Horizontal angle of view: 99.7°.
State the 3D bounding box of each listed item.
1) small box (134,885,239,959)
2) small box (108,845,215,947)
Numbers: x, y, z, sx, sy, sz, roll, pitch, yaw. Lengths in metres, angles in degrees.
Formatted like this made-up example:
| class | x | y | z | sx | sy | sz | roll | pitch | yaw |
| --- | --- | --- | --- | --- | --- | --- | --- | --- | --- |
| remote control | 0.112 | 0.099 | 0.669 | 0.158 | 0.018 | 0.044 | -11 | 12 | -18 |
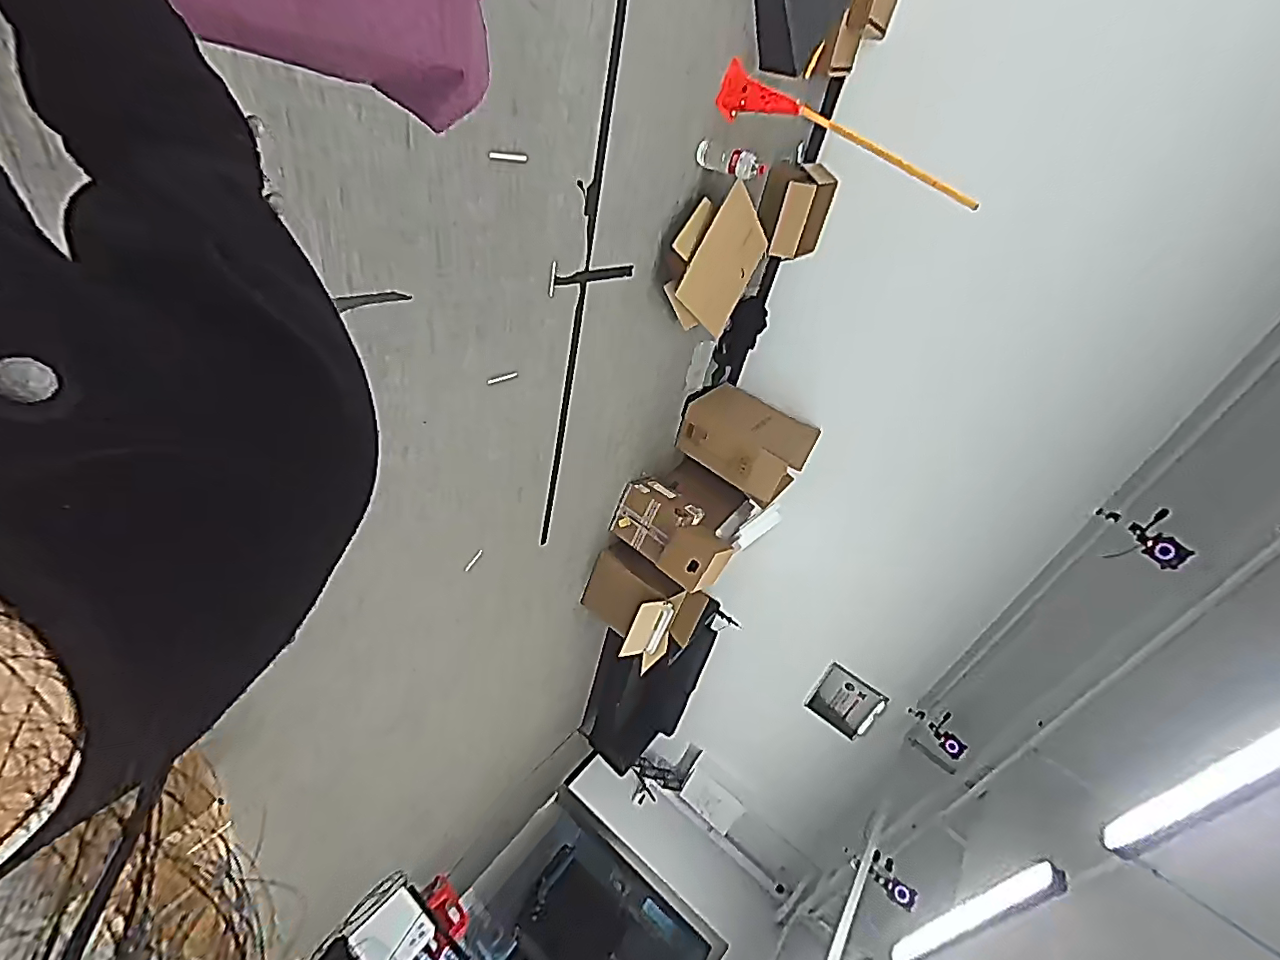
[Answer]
| class | x | y | z | sx | sy | sz | roll | pitch | yaw |
| --- | --- | --- | --- | --- | --- | --- | --- | --- | --- |
| small box | -1.301 | 1.323 | 1.556 | 0.168 | 0.176 | 0.179 | -32 | 145 | -46 |
| small box | -1.432 | 1.252 | 1.622 | 0.179 | 0.176 | 0.168 | -32 | 145 | -44 |
